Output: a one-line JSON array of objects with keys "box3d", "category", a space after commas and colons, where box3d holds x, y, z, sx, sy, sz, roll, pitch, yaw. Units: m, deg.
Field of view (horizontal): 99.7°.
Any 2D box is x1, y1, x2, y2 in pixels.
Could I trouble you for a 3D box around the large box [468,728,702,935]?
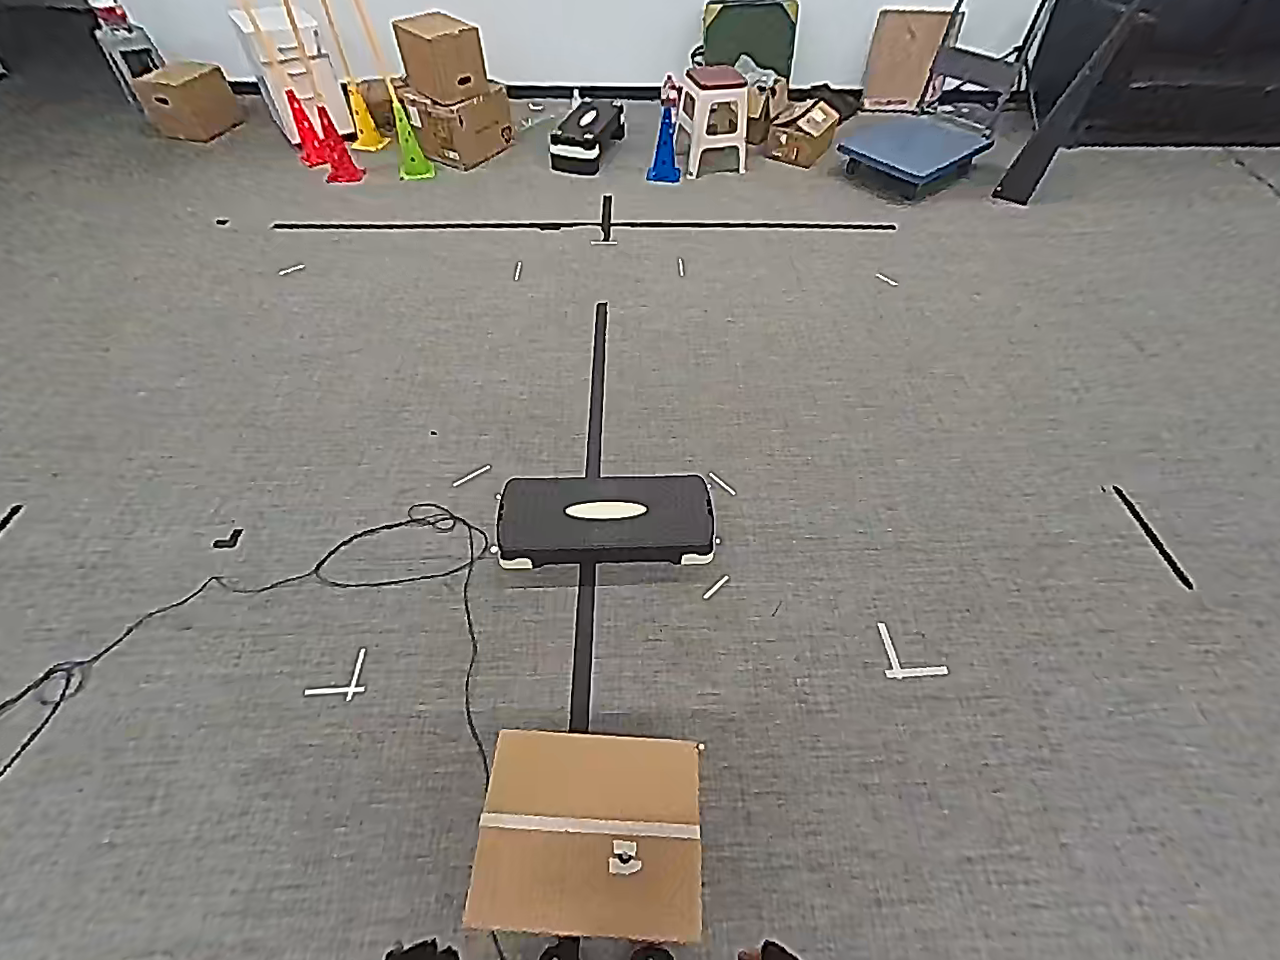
[{"box3d": [-0.095, 0.727, 1.114, 0.408, 0.320, 0.320, 4, 52, 0], "category": "large box"}]
